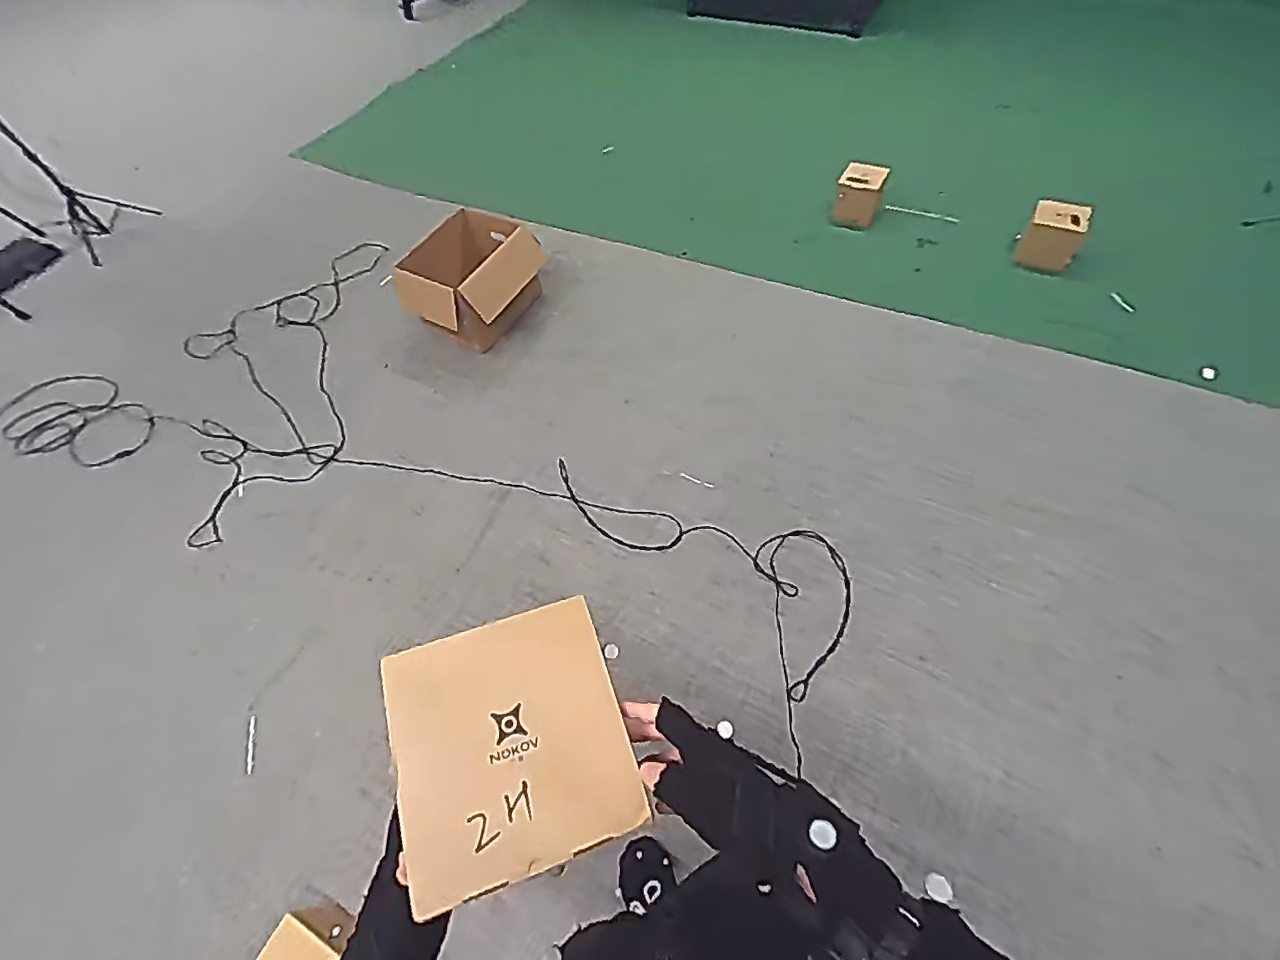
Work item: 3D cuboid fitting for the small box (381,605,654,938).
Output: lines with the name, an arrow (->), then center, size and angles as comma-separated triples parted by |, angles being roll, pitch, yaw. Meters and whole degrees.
small box -> -0.098, 0.232, 0.458 | 0.168, 0.176, 0.179 | -16, 64, -12

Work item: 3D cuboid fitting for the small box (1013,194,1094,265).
small box -> 1.558, -0.944, 2.043 | 0.179, 0.176, 0.168 | 23, 63, 19

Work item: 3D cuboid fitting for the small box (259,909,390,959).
small box -> -0.637, 0.980, 1.057 | 0.179, 0.176, 0.168 | 21, 62, 17
